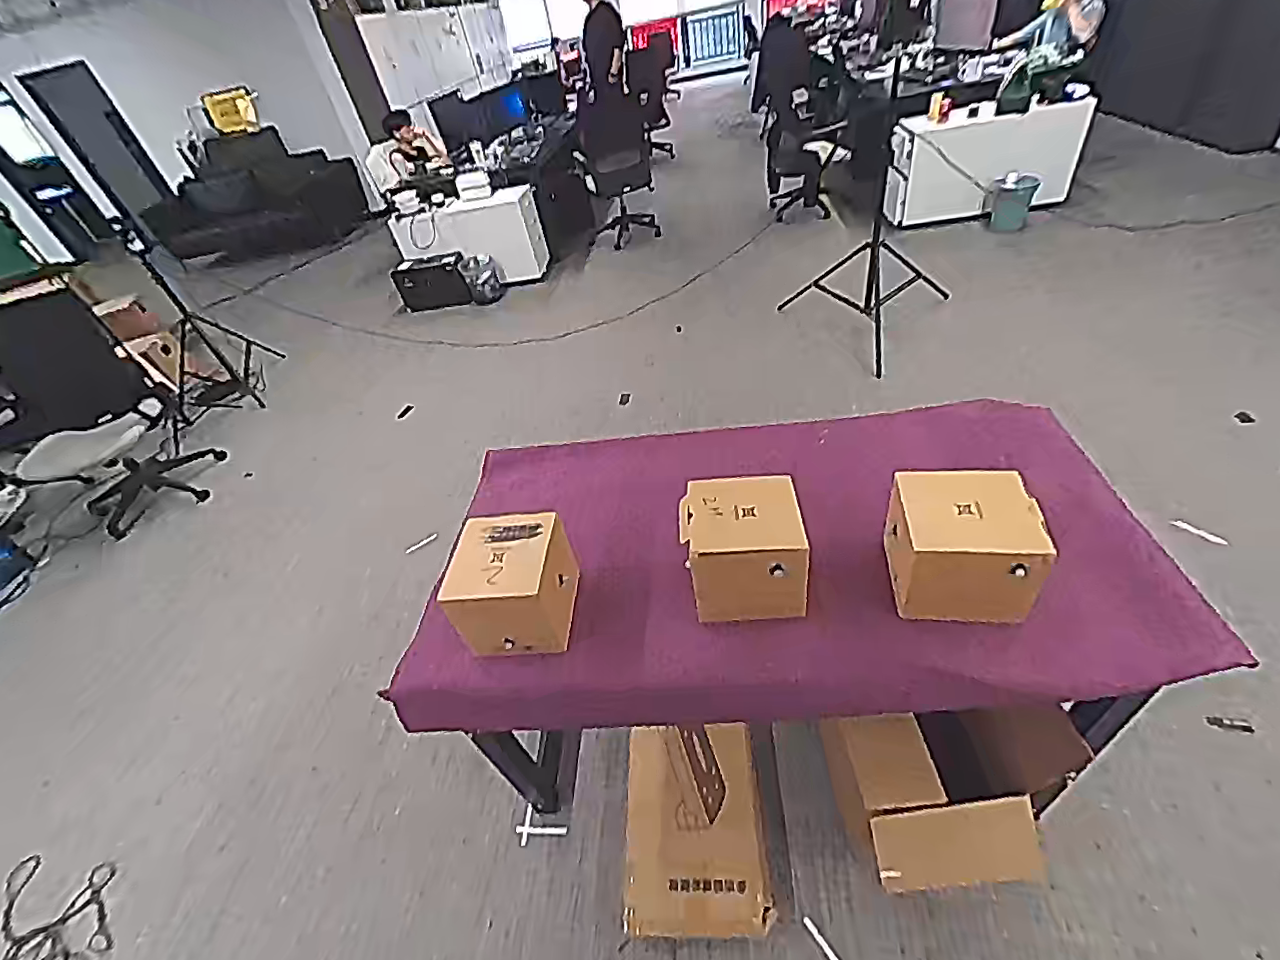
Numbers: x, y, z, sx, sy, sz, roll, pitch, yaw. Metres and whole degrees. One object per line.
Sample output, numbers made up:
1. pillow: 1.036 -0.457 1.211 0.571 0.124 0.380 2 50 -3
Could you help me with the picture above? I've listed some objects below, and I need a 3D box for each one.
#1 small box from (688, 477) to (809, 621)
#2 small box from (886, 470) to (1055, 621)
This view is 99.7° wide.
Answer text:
1. small box: 0.174 0.117 0.896 0.179 0.176 0.168 -6 39 8
2. small box: 0.486 0.102 0.833 0.179 0.176 0.168 -1 42 13
